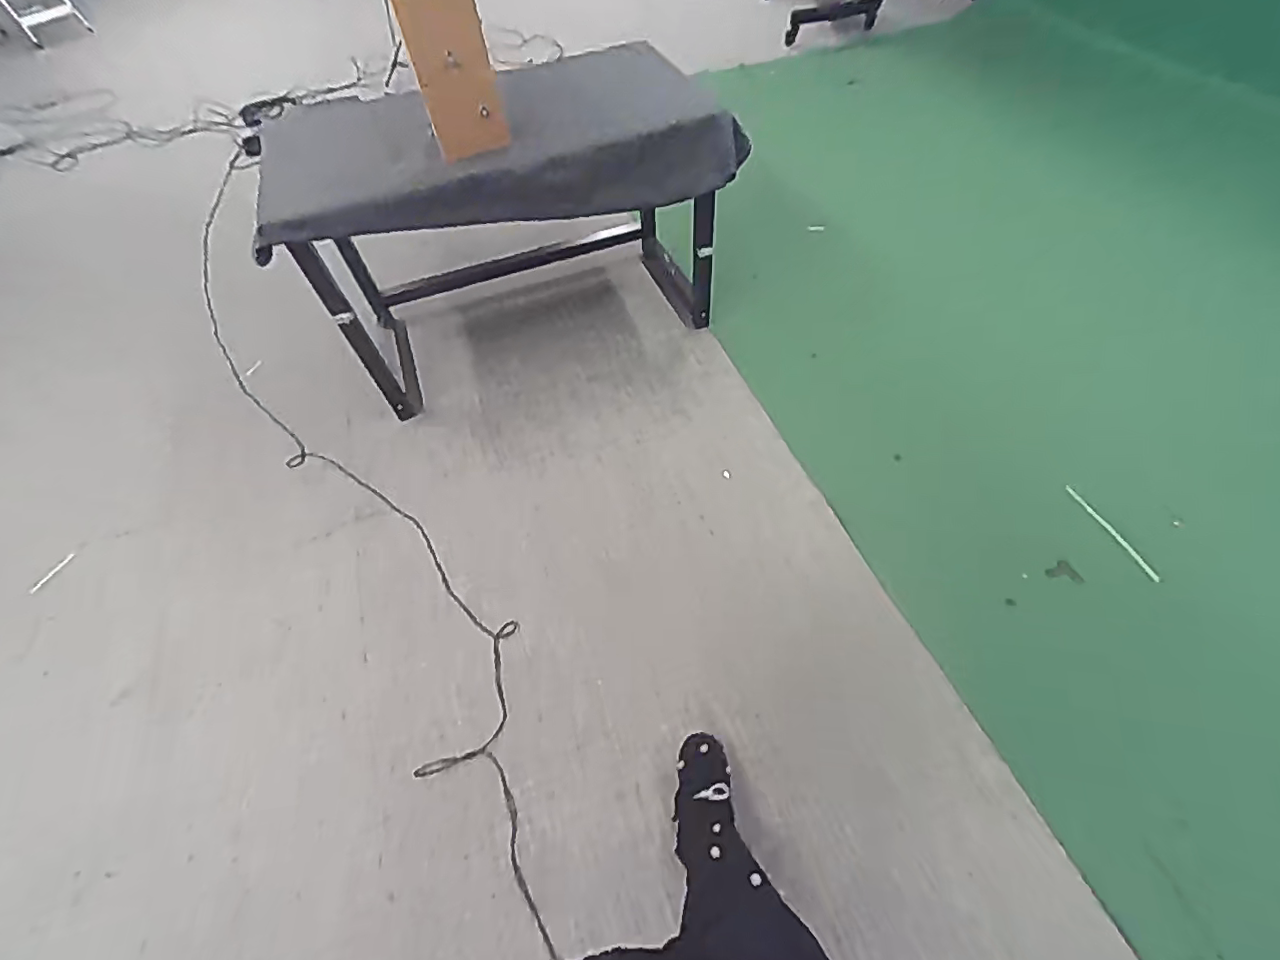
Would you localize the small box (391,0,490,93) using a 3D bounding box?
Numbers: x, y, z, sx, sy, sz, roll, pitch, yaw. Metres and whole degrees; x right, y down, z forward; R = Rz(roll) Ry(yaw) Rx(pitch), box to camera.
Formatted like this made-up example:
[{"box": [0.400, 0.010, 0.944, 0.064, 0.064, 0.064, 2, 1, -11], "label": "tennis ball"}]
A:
[{"box": [-0.460, -1.035, 1.255, 0.179, 0.176, 0.168, -20, 55, -10], "label": "small box"}]

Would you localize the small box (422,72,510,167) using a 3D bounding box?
[{"box": [-0.446, -0.937, 1.385, 0.179, 0.176, 0.168, -21, 54, -8], "label": "small box"}]
